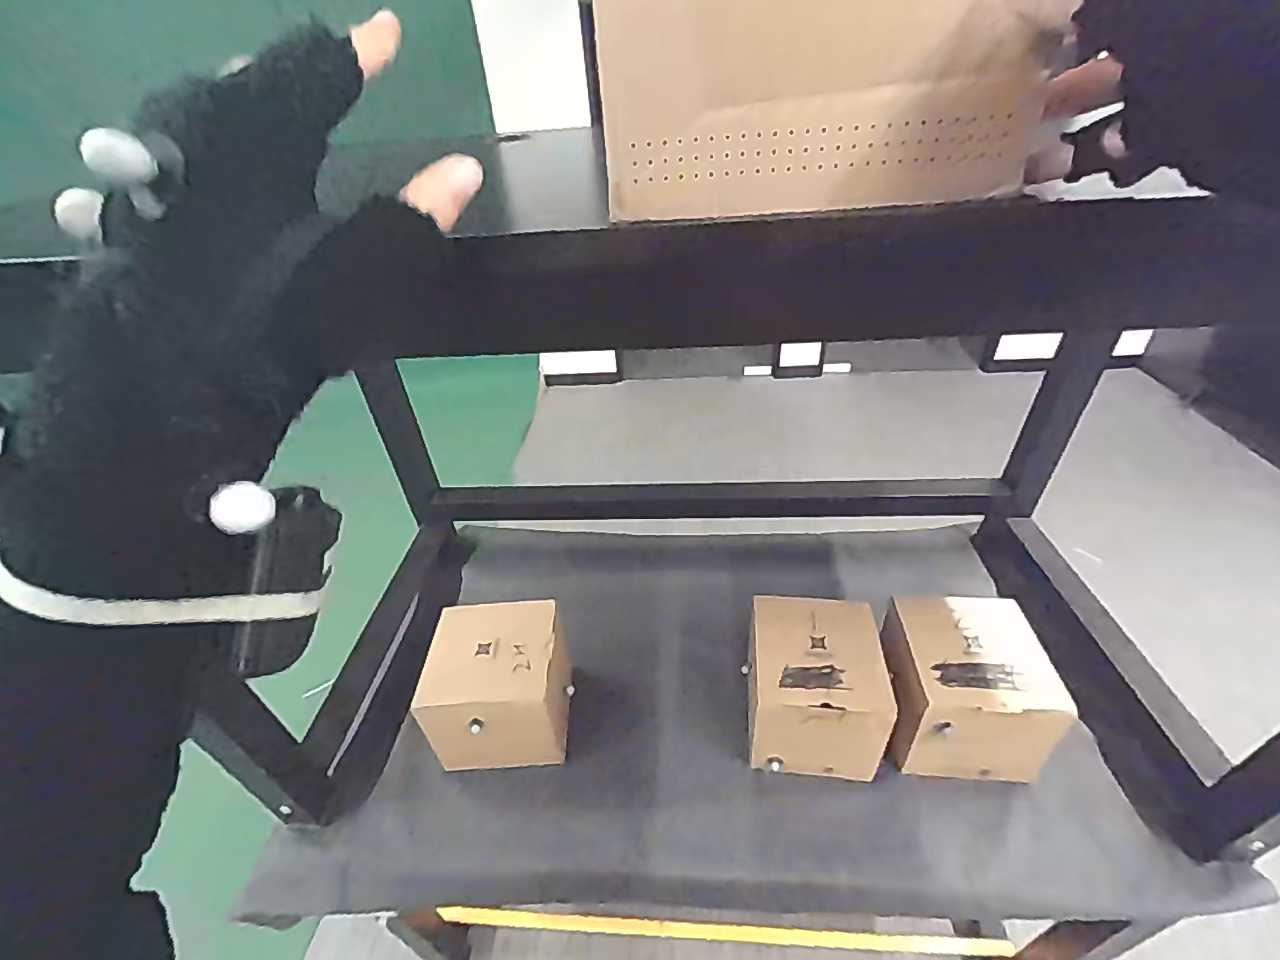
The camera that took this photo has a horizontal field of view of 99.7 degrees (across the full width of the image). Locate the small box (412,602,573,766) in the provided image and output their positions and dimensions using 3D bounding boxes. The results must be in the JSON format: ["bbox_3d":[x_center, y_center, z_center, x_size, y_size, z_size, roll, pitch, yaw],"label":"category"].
[{"bbox_3d":[-0.204,0.303,0.801,0.179,0.176,0.168,-3,37,1],"label":"small box"}]
